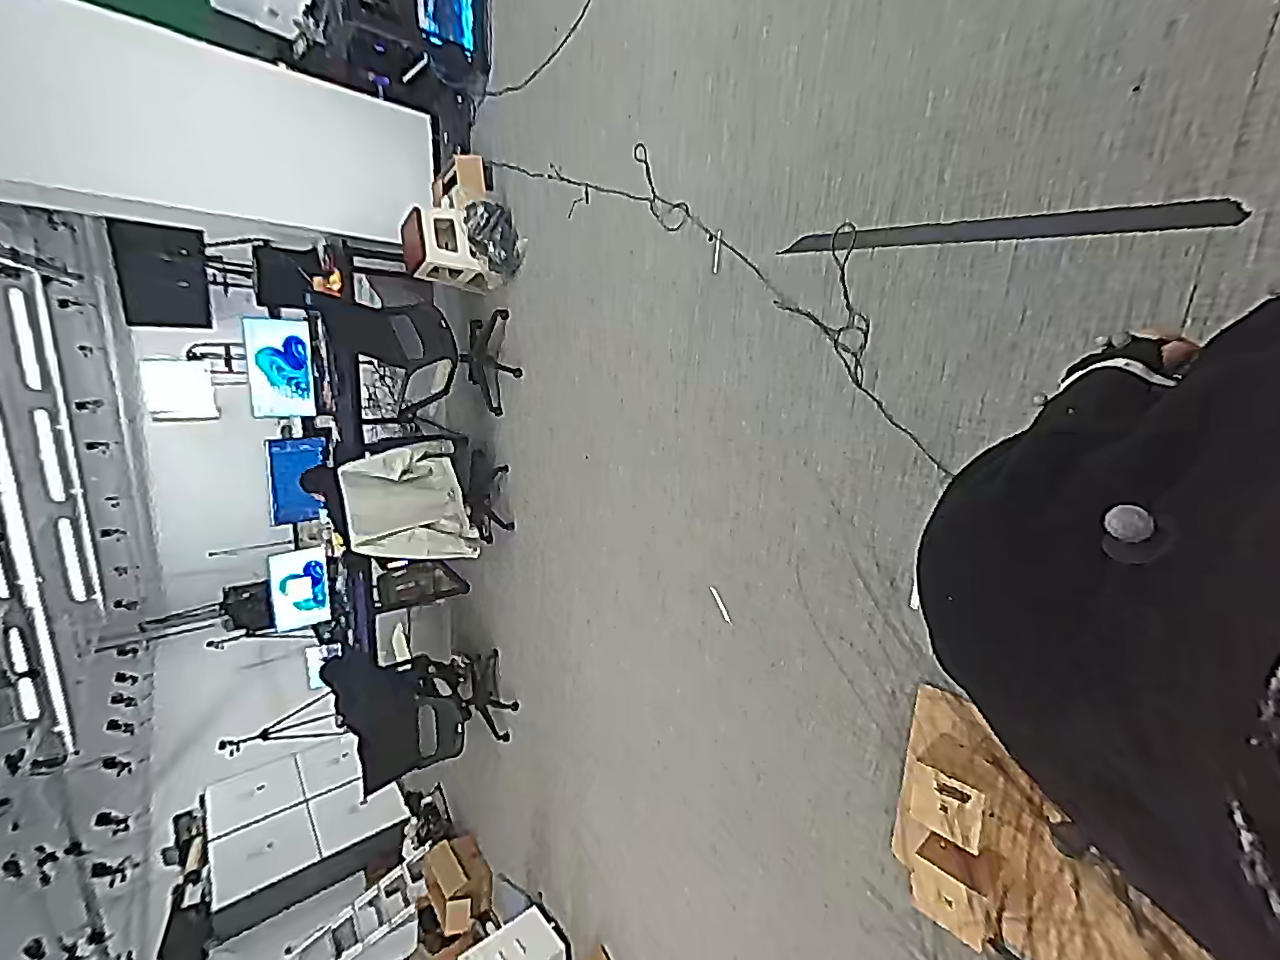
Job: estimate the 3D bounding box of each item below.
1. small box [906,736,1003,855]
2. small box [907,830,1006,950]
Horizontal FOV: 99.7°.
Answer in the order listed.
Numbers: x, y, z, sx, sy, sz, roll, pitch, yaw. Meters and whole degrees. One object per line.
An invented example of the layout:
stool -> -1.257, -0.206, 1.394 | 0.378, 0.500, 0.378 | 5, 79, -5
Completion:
small box -> 0.821, 0.808, 1.408 | 0.168, 0.176, 0.179 | 13, 106, 49
small box -> 0.839, 1.066, 1.437 | 0.179, 0.176, 0.168 | 10, 106, 48
